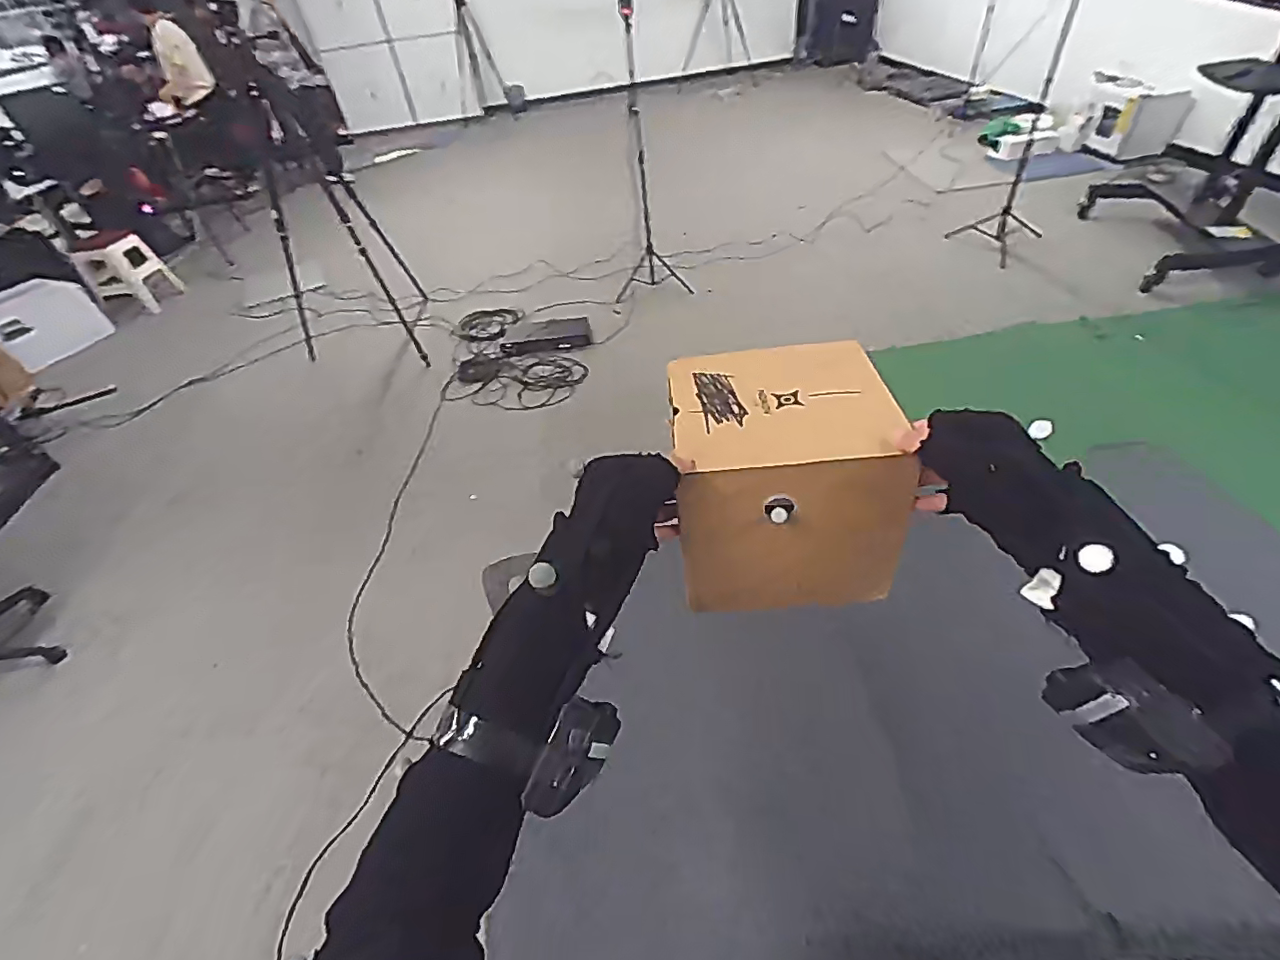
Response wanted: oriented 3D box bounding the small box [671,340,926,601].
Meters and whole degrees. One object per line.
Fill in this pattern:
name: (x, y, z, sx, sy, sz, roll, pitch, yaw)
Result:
small box: (0.123, -0.005, 0.488, 0.179, 0.176, 0.168, -4, 42, 5)
